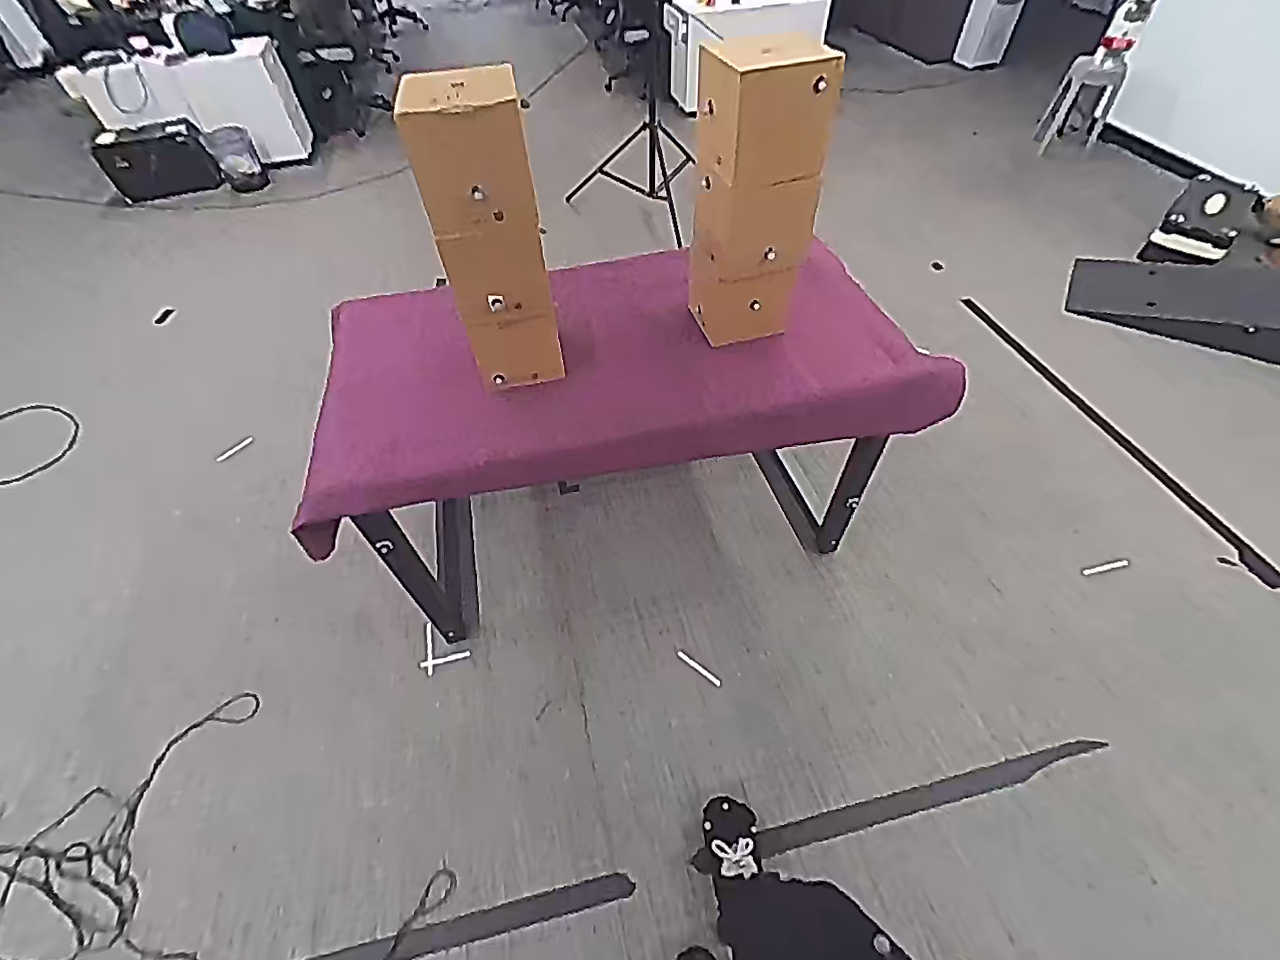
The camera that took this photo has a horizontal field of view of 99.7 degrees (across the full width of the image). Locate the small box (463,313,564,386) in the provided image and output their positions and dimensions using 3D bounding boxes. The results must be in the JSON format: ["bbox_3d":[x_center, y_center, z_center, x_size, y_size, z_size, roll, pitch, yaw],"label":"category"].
[{"bbox_3d":[-0.255,-0.307,1.099,0.168,0.176,0.179,-12,51,-8],"label":"small box"}]

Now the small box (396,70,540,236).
[{"bbox_3d":[-0.256,-0.504,0.837,0.168,0.176,0.179,-11,52,-5],"label":"small box"}]

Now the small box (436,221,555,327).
[{"bbox_3d":[-0.254,-0.400,0.965,0.168,0.176,0.179,-12,53,-7],"label":"small box"}]

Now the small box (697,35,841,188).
[{"bbox_3d":[0.204,-0.615,0.909,0.179,0.176,0.168,-16,52,-10],"label":"small box"}]

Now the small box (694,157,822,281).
[{"bbox_3d":[0.212,-0.507,1.031,0.179,0.176,0.168,-16,52,-10],"label":"small box"}]
